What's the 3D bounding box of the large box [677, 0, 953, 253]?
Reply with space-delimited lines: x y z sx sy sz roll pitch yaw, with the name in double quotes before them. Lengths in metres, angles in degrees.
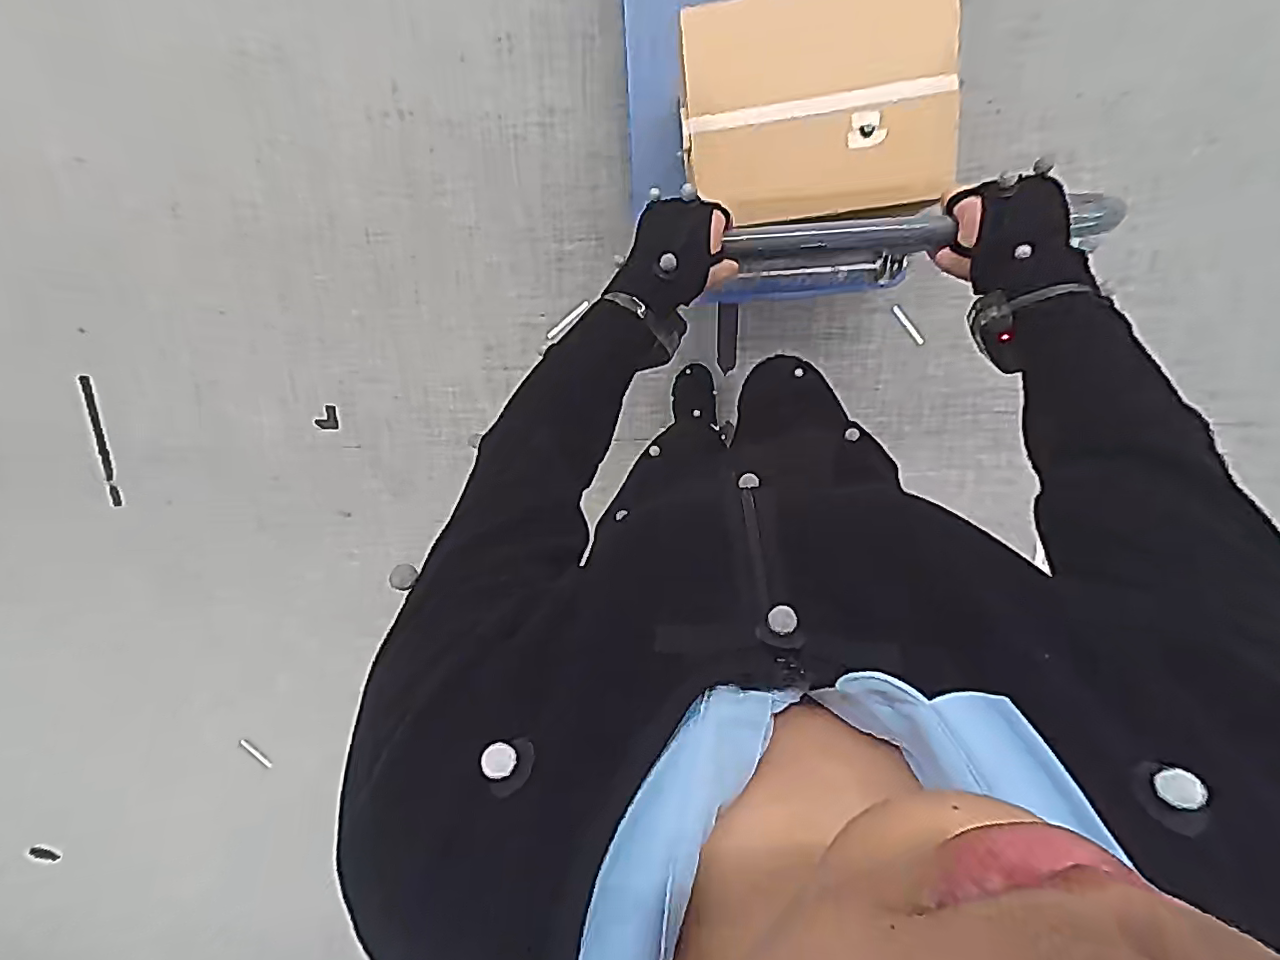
"large box" 0.285 -0.624 0.984 0.408 0.320 0.320 -6 106 5
